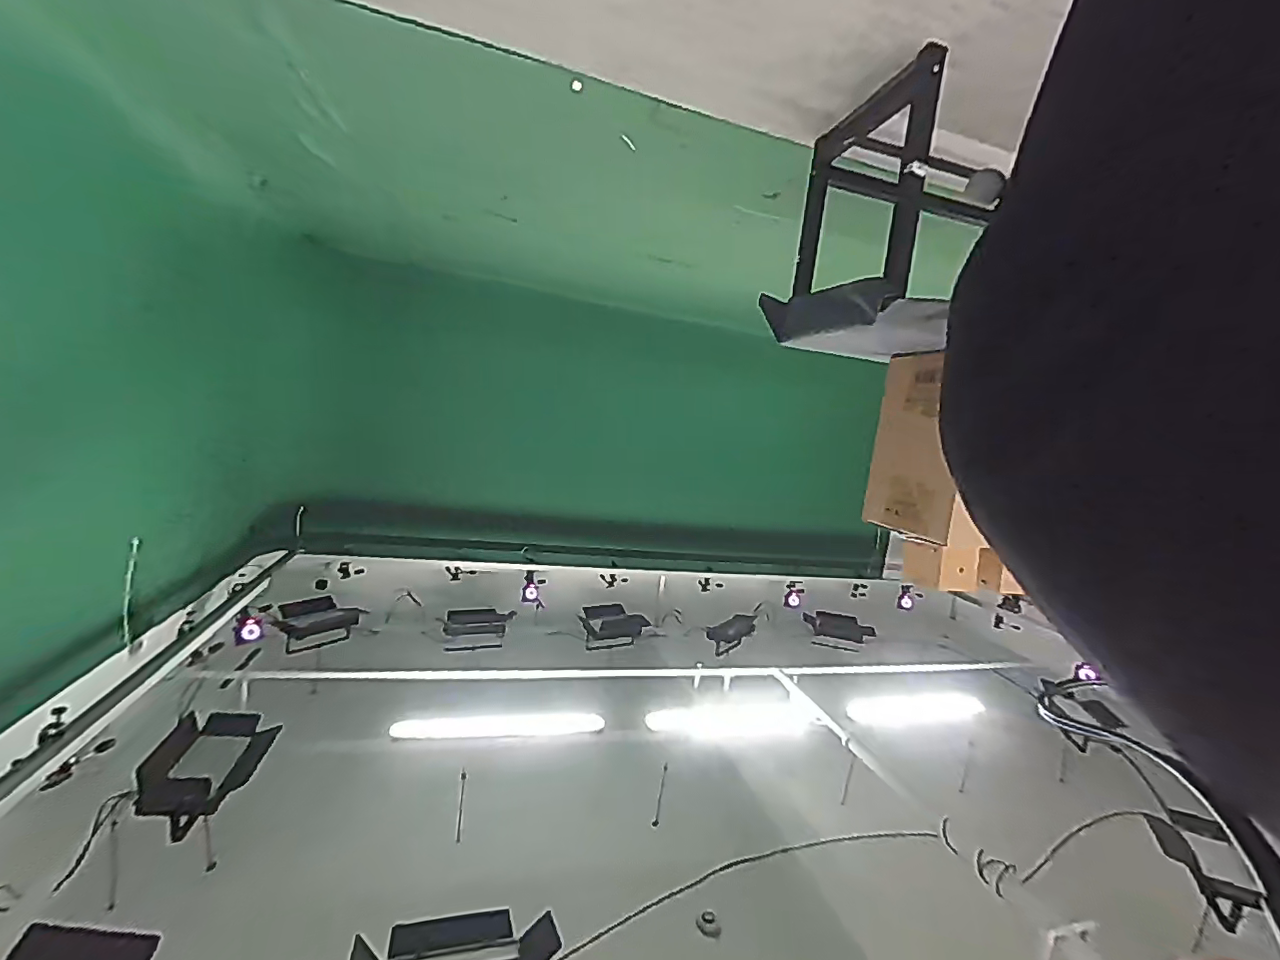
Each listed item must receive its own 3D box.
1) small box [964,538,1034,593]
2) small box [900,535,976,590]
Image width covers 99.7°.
[{"bbox_3d":[1.319,0.313,2.002,0.179,0.176,0.168,5,-178,-19],"label":"small box"},{"bbox_3d":[1.069,0.291,1.943,0.179,0.176,0.168,4,-178,-19],"label":"small box"}]
